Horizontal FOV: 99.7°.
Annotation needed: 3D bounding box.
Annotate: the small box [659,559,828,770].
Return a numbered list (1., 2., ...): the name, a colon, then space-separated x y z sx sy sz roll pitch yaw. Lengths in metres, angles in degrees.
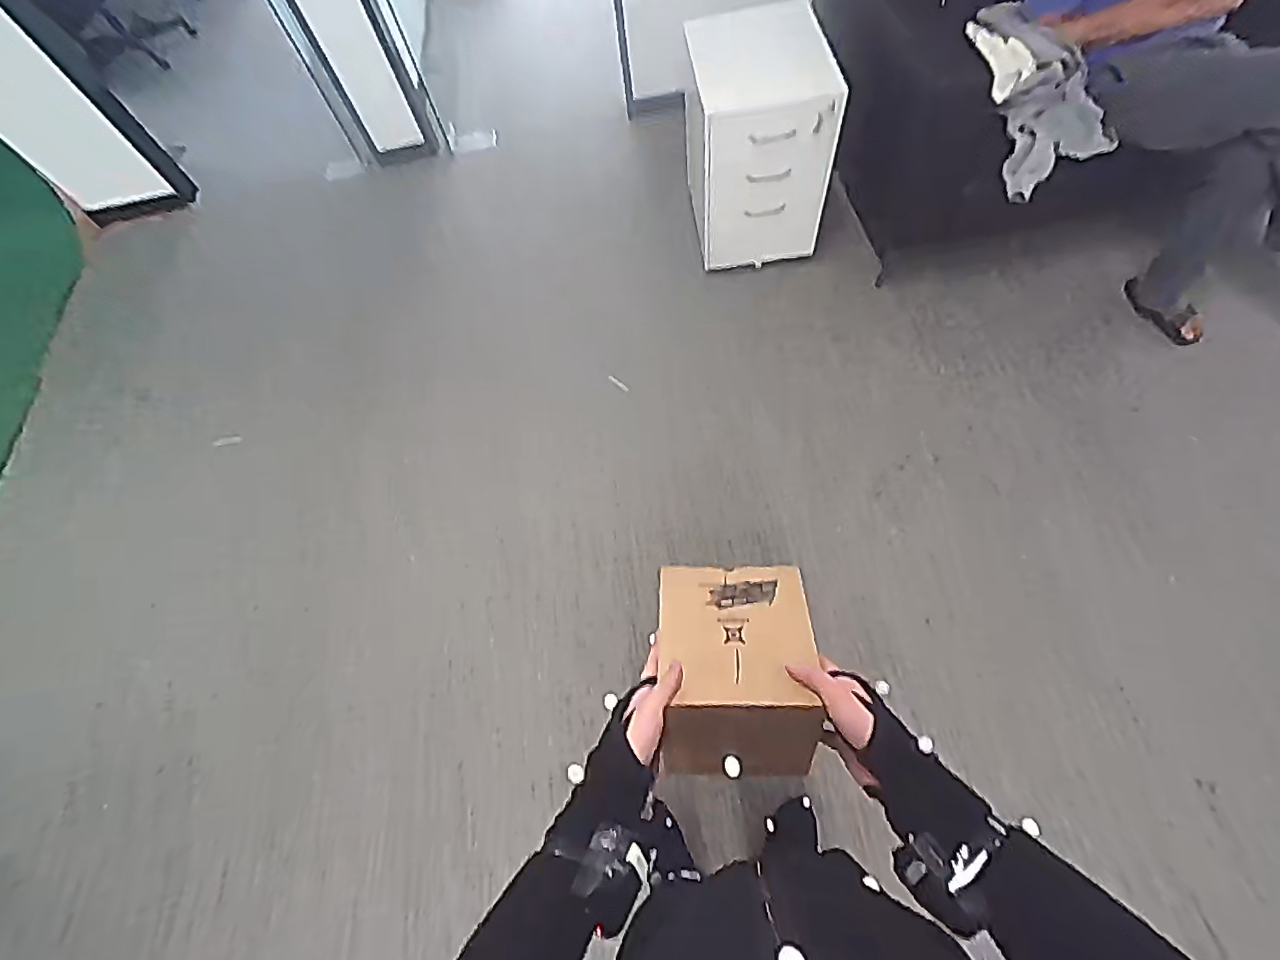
1. small box: 0.110 0.214 0.638 0.168 0.176 0.179 -1 41 5
